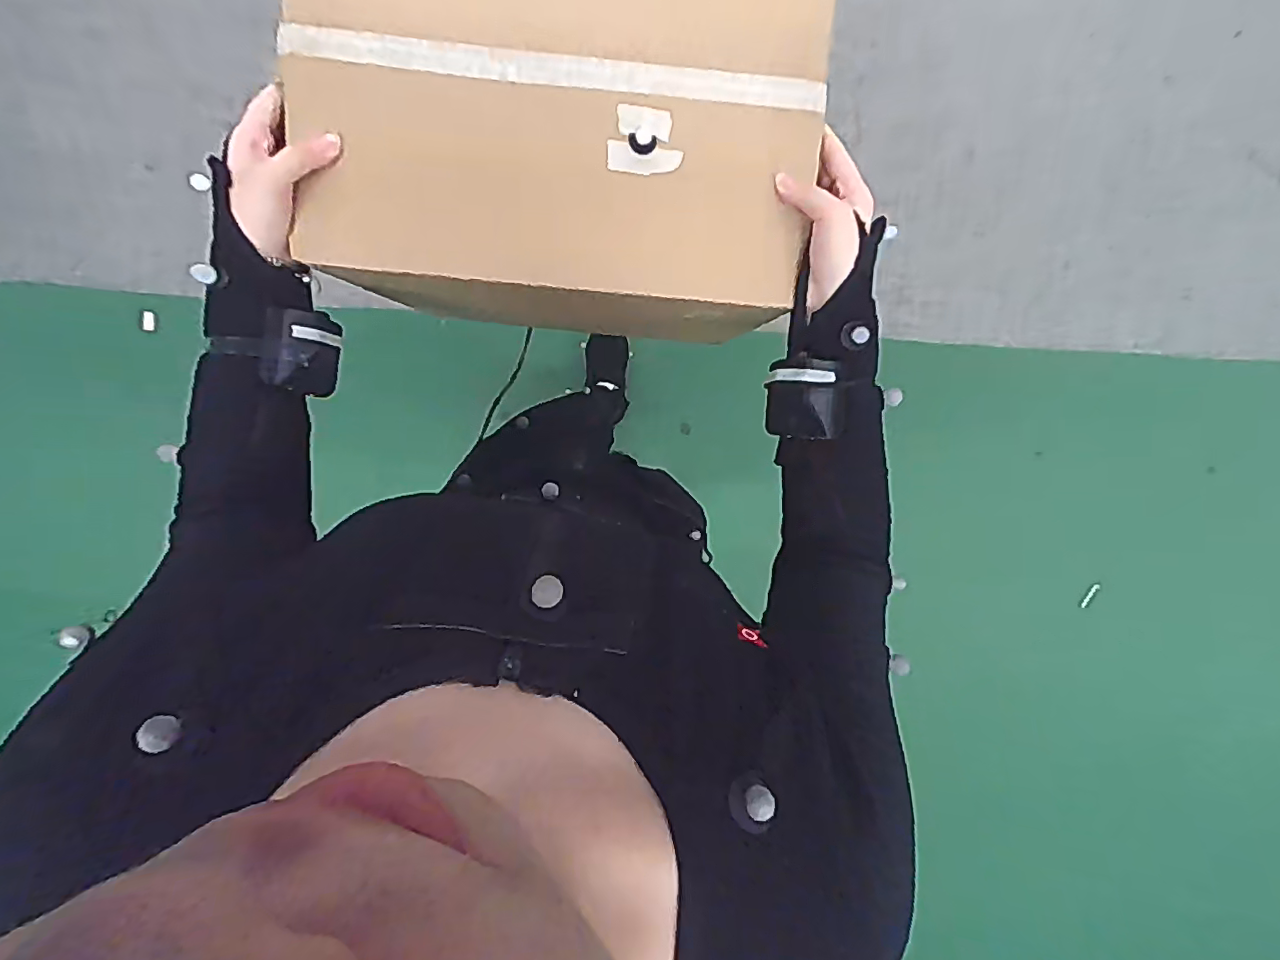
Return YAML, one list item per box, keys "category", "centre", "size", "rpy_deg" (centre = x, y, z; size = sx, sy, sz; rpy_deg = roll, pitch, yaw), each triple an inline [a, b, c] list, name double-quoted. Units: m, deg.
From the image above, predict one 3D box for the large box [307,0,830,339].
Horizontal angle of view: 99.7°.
- category: "large box"
  centre: [-0.063, -0.335, 0.568]
  size: [0.408, 0.320, 0.320]
  rpy_deg: [4, 99, -4]
